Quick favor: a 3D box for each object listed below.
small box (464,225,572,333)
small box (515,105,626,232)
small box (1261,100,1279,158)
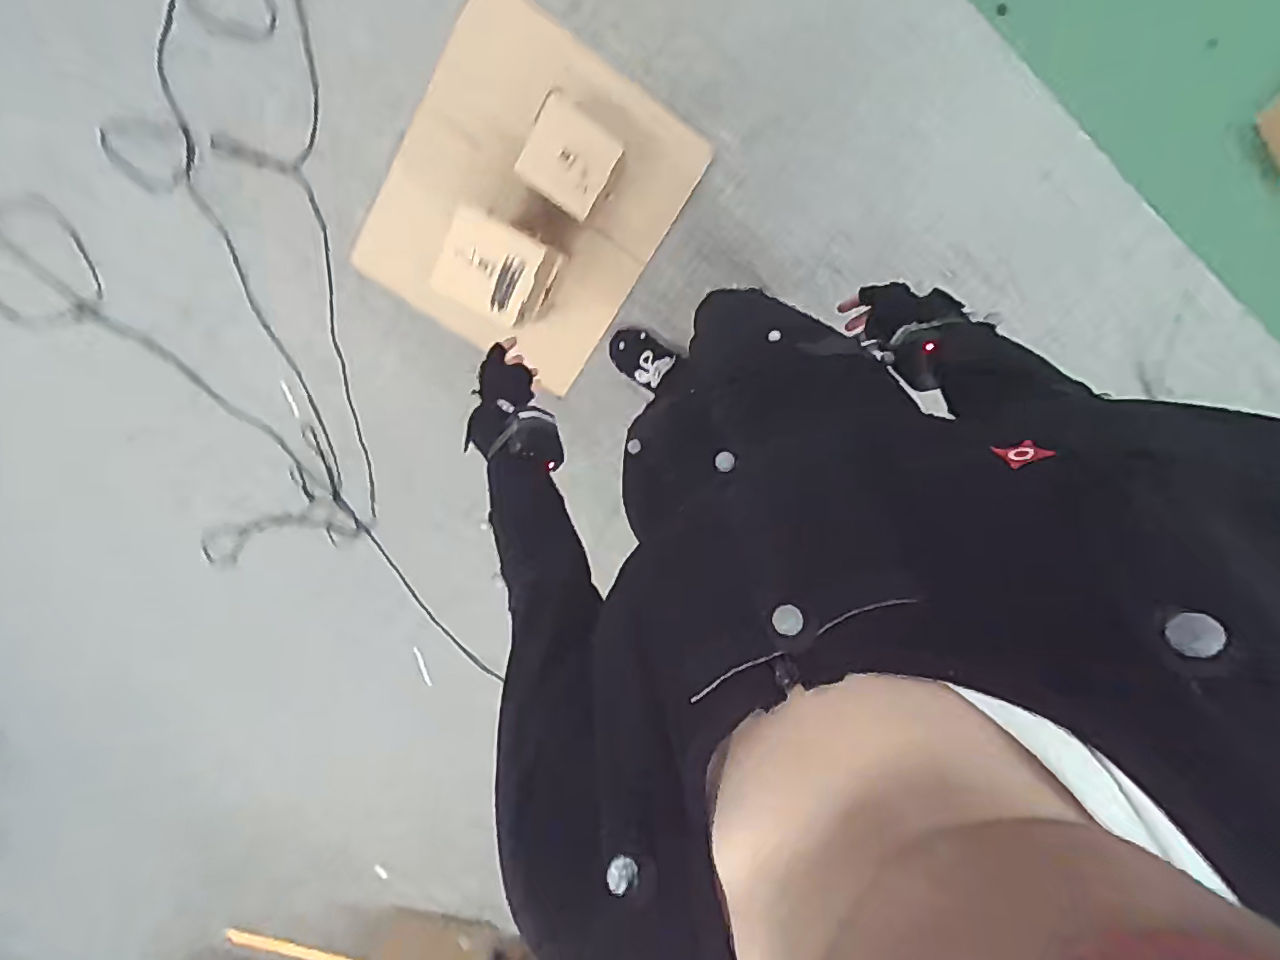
[{"bbox_3d":[-0.273,-0.462,1.252,0.179,0.176,0.168,28,106,-9],"label":"small box"},{"bbox_3d":[-0.145,-0.668,1.187,0.179,0.176,0.168,31,107,-10],"label":"small box"},{"bbox_3d":[1.530,-0.806,1.165,0.179,0.176,0.168,41,103,-13],"label":"small box"}]
